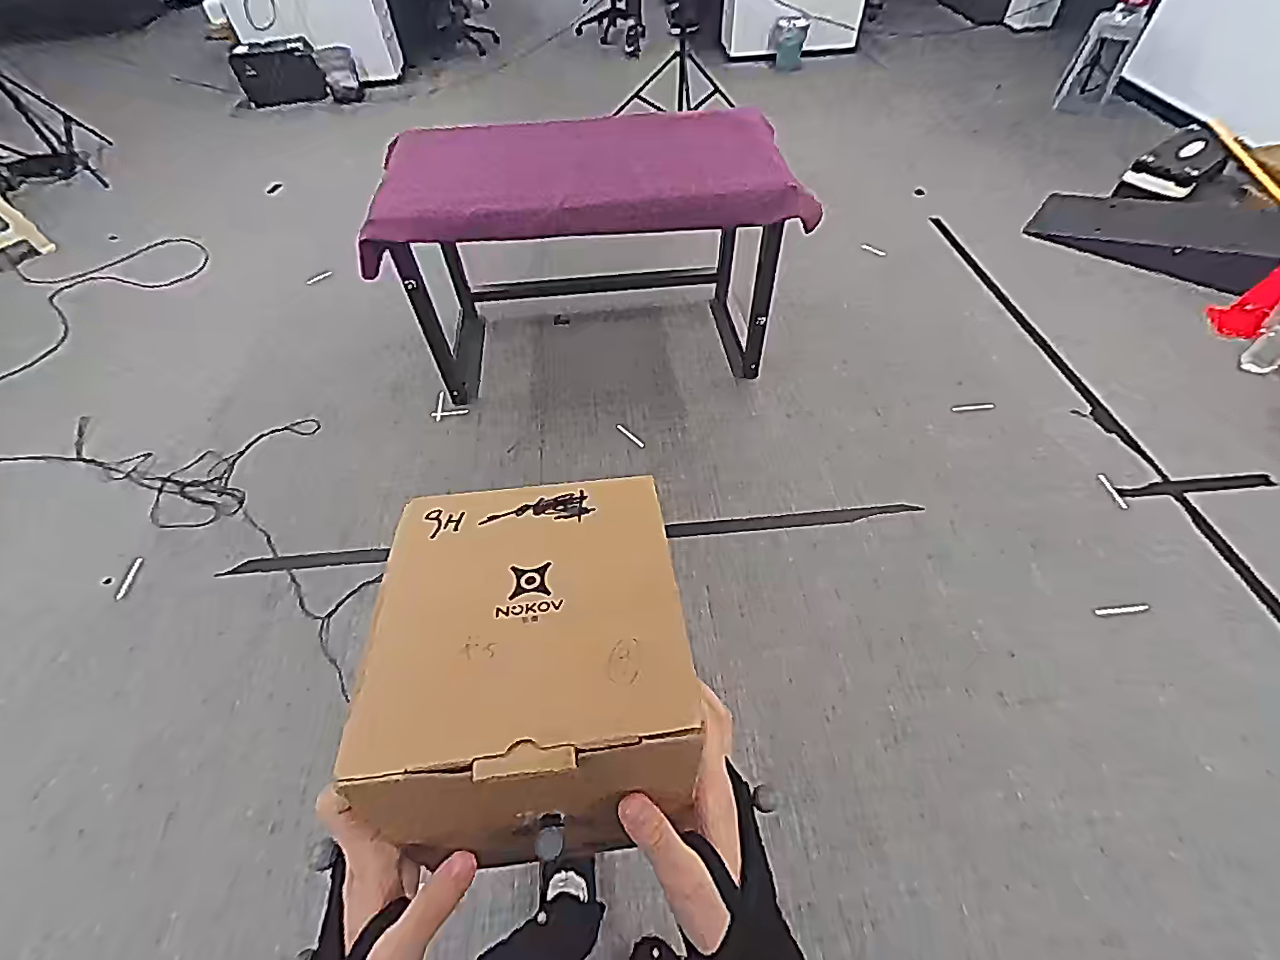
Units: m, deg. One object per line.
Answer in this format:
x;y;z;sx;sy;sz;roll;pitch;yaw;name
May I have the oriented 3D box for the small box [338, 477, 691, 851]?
-0.062;0.123;0.359;0.168;0.176;0.179;-5;43;-5;small box
